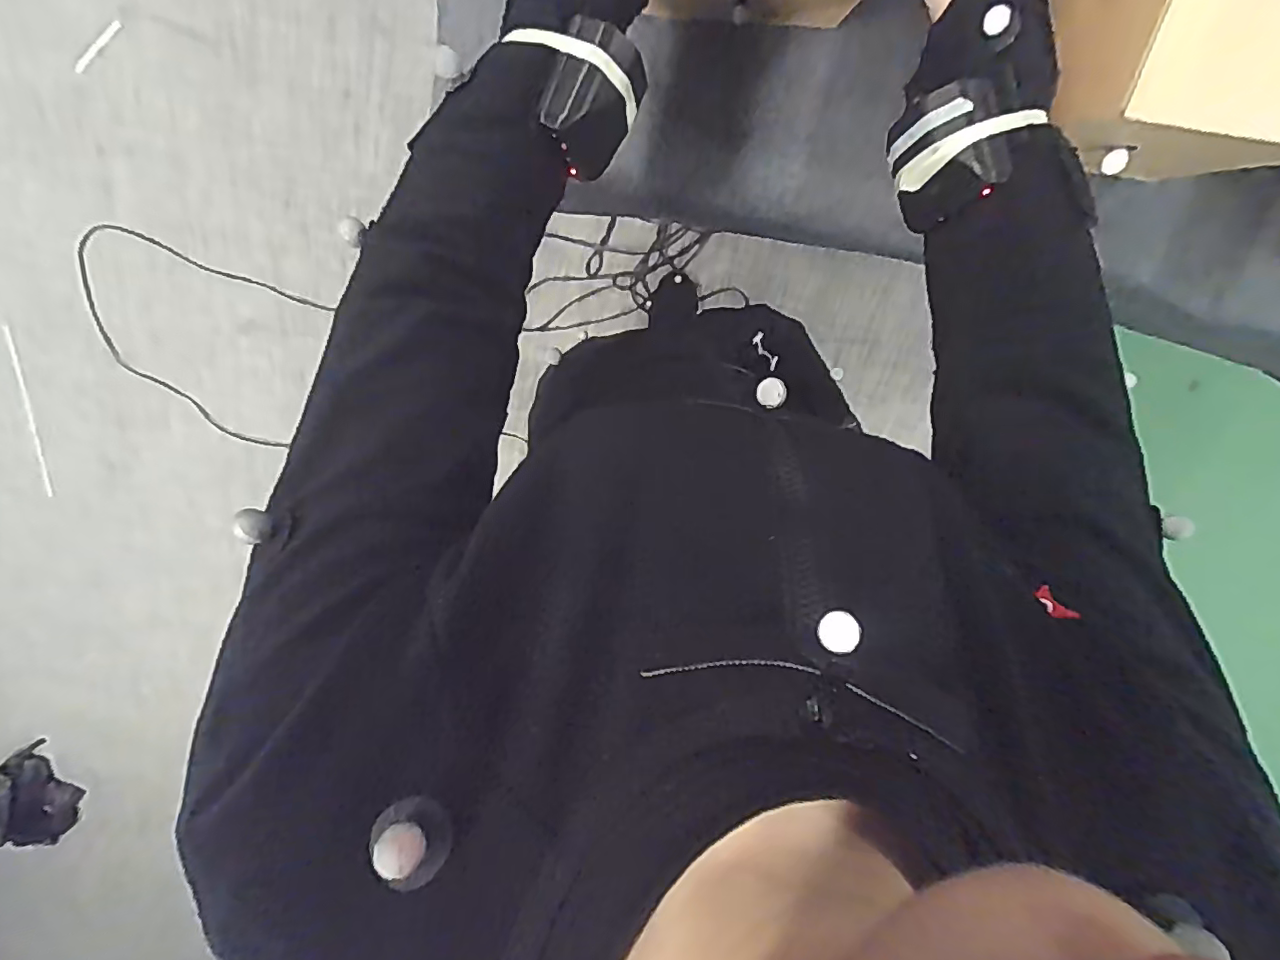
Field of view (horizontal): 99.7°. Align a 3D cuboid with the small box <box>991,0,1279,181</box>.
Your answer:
[{"bbox_3d":[0.394,-0.326,0.385,0.168,0.176,0.179,7,113,-2],"label":"small box"}]
